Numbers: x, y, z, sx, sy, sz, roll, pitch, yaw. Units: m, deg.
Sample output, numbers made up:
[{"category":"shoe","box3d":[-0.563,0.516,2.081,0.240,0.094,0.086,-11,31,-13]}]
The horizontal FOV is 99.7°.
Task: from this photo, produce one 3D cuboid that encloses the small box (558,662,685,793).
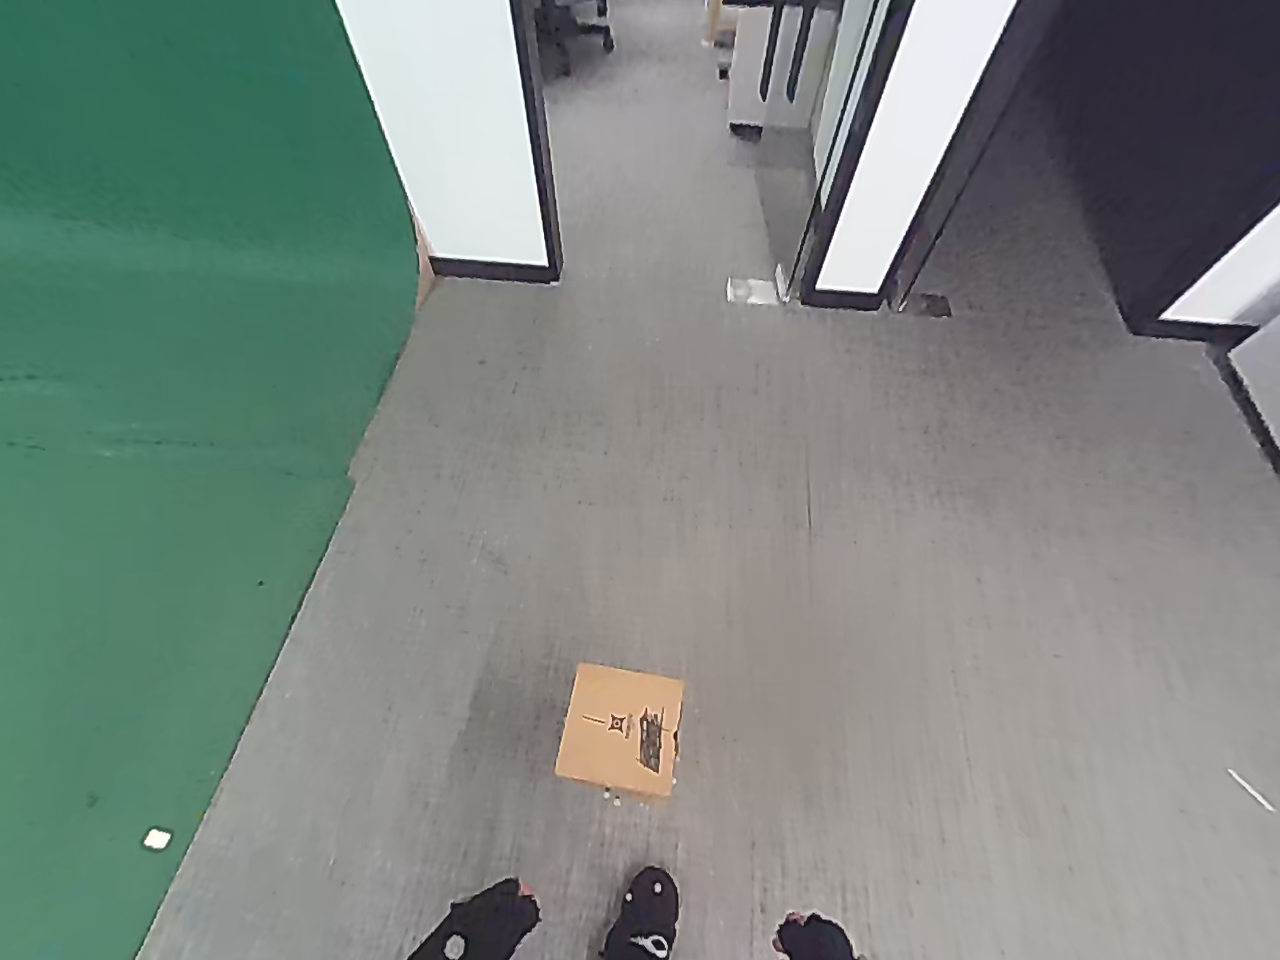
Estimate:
[{"category":"small box","box3d":[-0.027,0.414,0.899,0.179,0.176,0.168,7,59,2]}]
